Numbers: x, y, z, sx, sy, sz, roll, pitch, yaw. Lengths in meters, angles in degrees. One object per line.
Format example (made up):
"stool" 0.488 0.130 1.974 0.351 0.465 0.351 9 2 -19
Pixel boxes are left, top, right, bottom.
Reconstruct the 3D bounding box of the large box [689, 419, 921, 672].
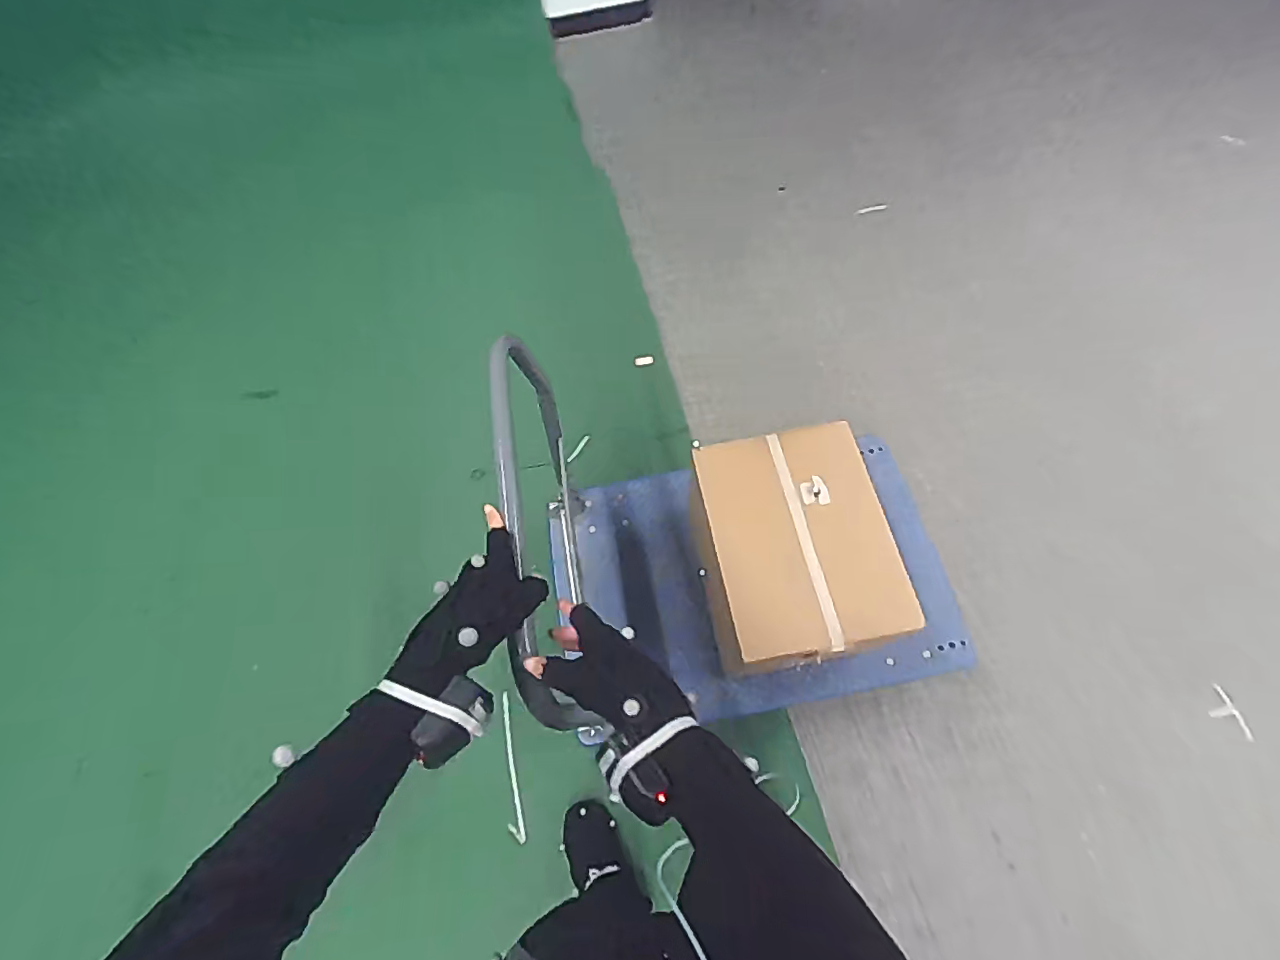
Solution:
"large box" 0.295 0.145 1.113 0.320 0.320 0.408 -10 65 -2
